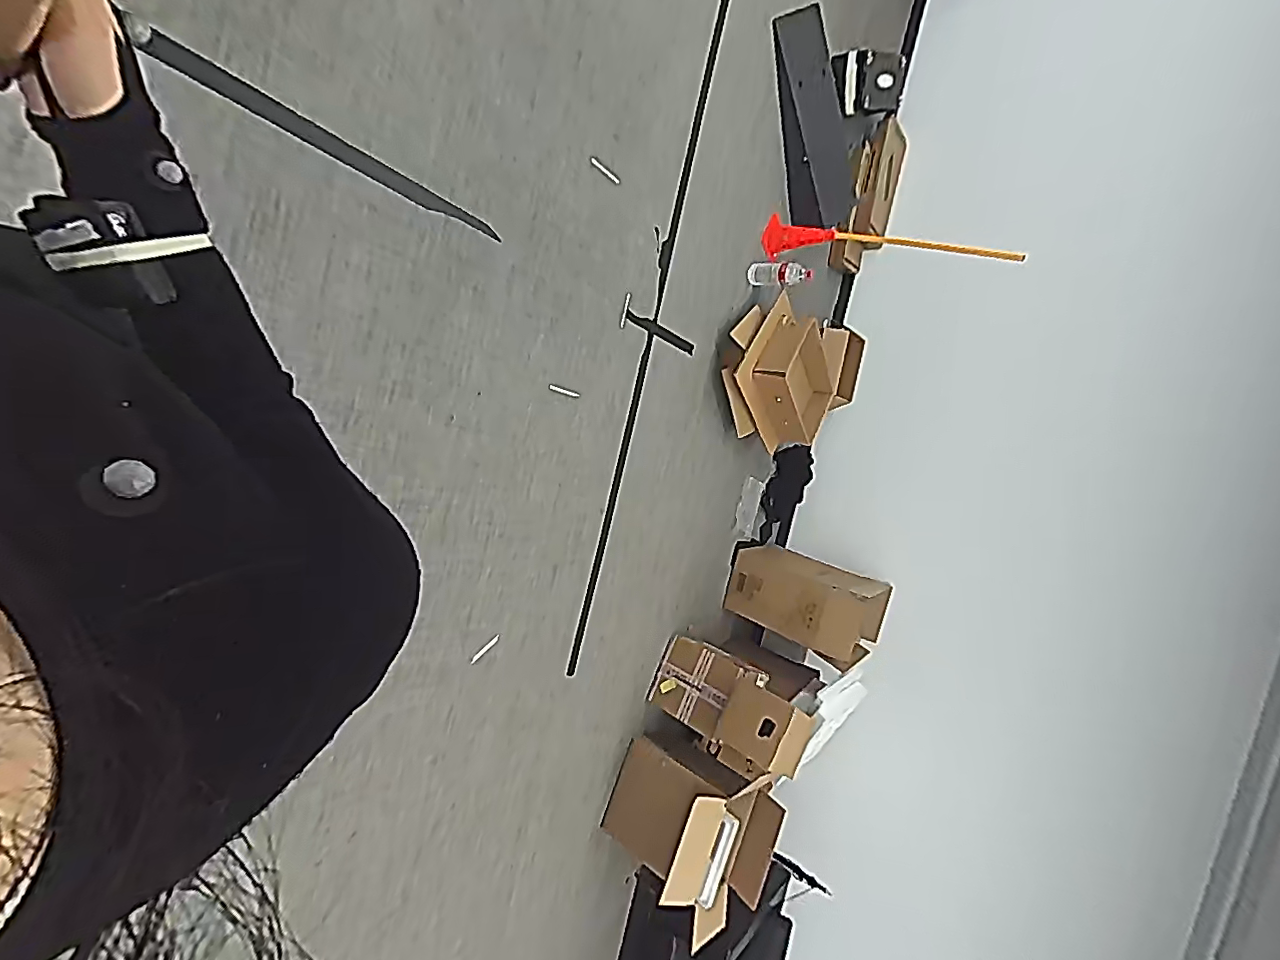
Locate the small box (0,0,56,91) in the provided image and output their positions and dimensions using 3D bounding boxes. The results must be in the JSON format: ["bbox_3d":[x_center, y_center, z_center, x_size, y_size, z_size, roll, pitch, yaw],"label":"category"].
[{"bbox_3d":[-0.354,-0.291,0.203,0.168,0.176,0.179,-13,106,-53],"label":"small box"}]
